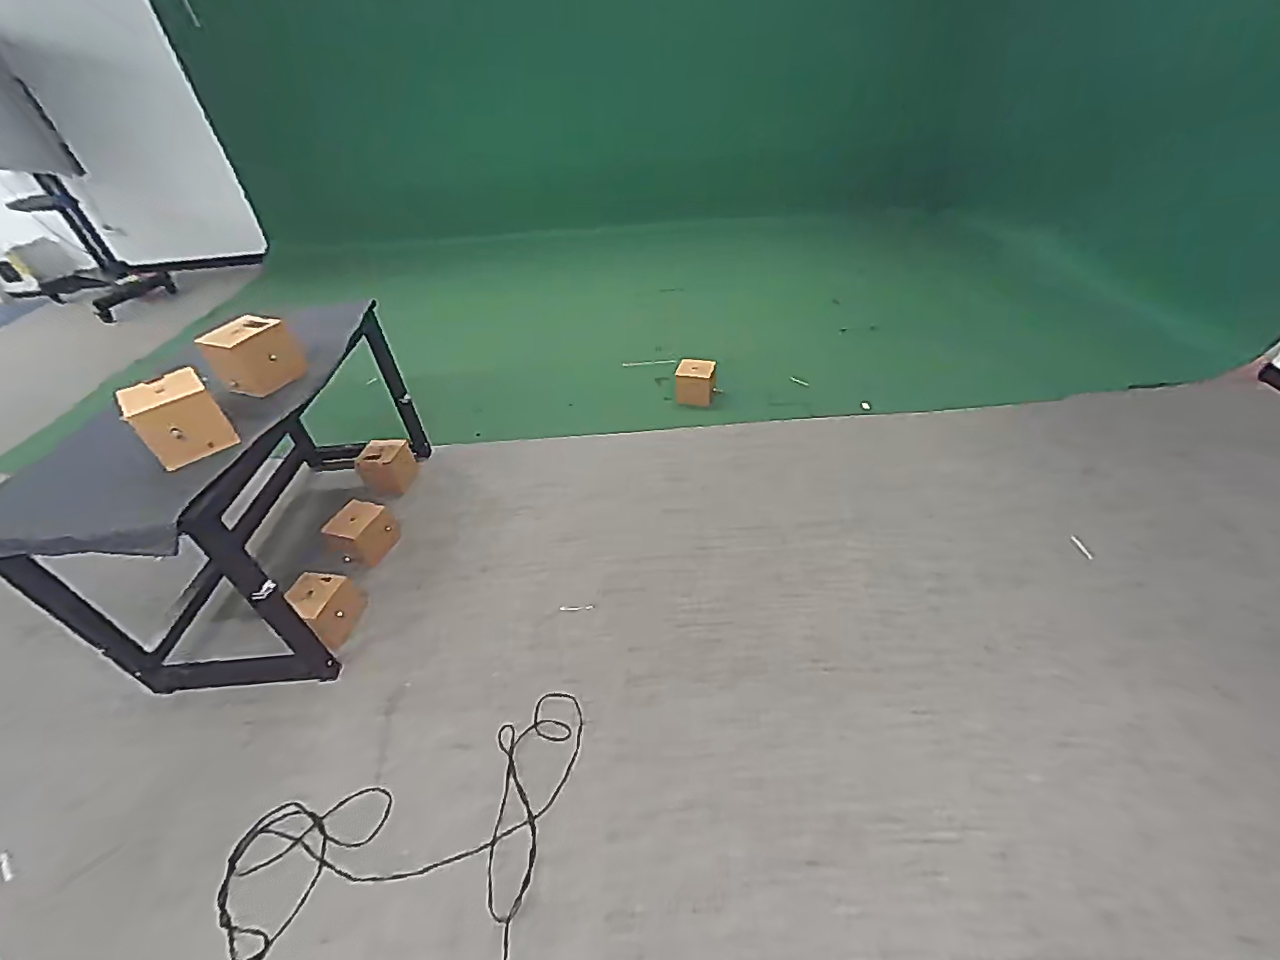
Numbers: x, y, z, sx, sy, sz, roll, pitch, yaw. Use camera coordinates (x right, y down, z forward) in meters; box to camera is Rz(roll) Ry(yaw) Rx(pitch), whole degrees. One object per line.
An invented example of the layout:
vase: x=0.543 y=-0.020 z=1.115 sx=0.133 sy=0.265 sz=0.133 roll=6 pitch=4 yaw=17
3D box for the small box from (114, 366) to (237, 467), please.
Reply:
small box: x=-1.162 y=-0.156 z=1.361 sx=0.168 sy=0.176 sz=0.179 roll=-34 pitch=49 yaw=-30

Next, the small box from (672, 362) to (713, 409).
small box: x=0.265 y=-0.474 z=2.709 sx=0.179 sy=0.176 sz=0.168 roll=9 pitch=43 yaw=15

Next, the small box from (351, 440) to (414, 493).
small box: x=-1.113 y=-0.055 z=2.354 sx=0.168 sy=0.176 sz=0.179 roll=0 pitch=40 yaw=5

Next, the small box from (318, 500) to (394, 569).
small box: x=-1.063 y=0.206 z=2.047 sx=0.168 sy=0.176 sz=0.179 roll=9 pitch=44 yaw=17

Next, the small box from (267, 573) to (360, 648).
small box: x=-1.066 y=0.433 z=1.785 sx=0.168 sy=0.176 sz=0.179 roll=4 pitch=42 yaw=10
